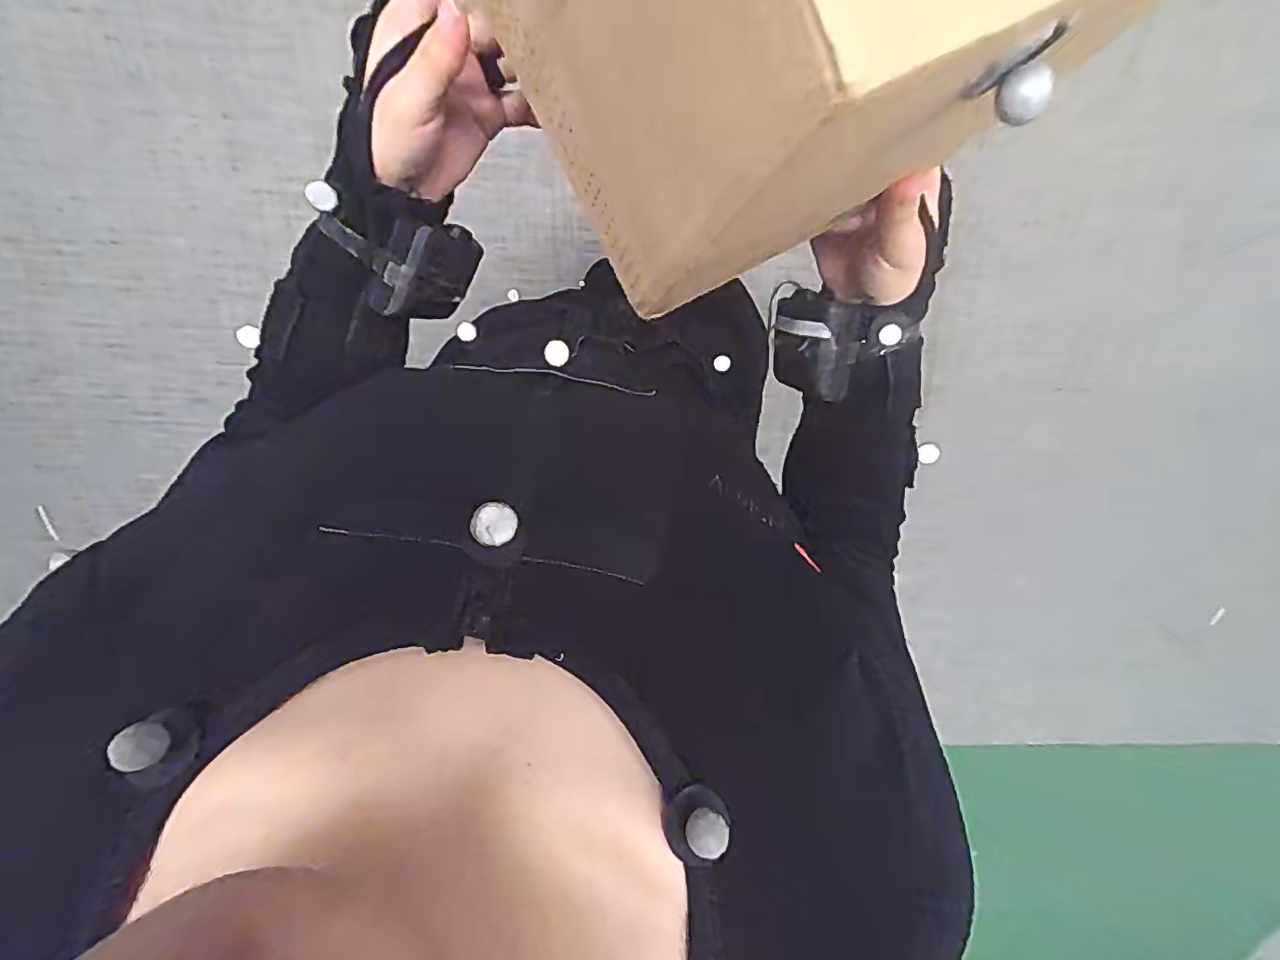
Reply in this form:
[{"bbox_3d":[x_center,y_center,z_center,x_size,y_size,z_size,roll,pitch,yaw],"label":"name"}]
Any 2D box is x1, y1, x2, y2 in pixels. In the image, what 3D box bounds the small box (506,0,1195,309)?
[{"bbox_3d":[0.057,-0.189,0.186,0.168,0.176,0.179,-30,98,-9],"label":"small box"}]
